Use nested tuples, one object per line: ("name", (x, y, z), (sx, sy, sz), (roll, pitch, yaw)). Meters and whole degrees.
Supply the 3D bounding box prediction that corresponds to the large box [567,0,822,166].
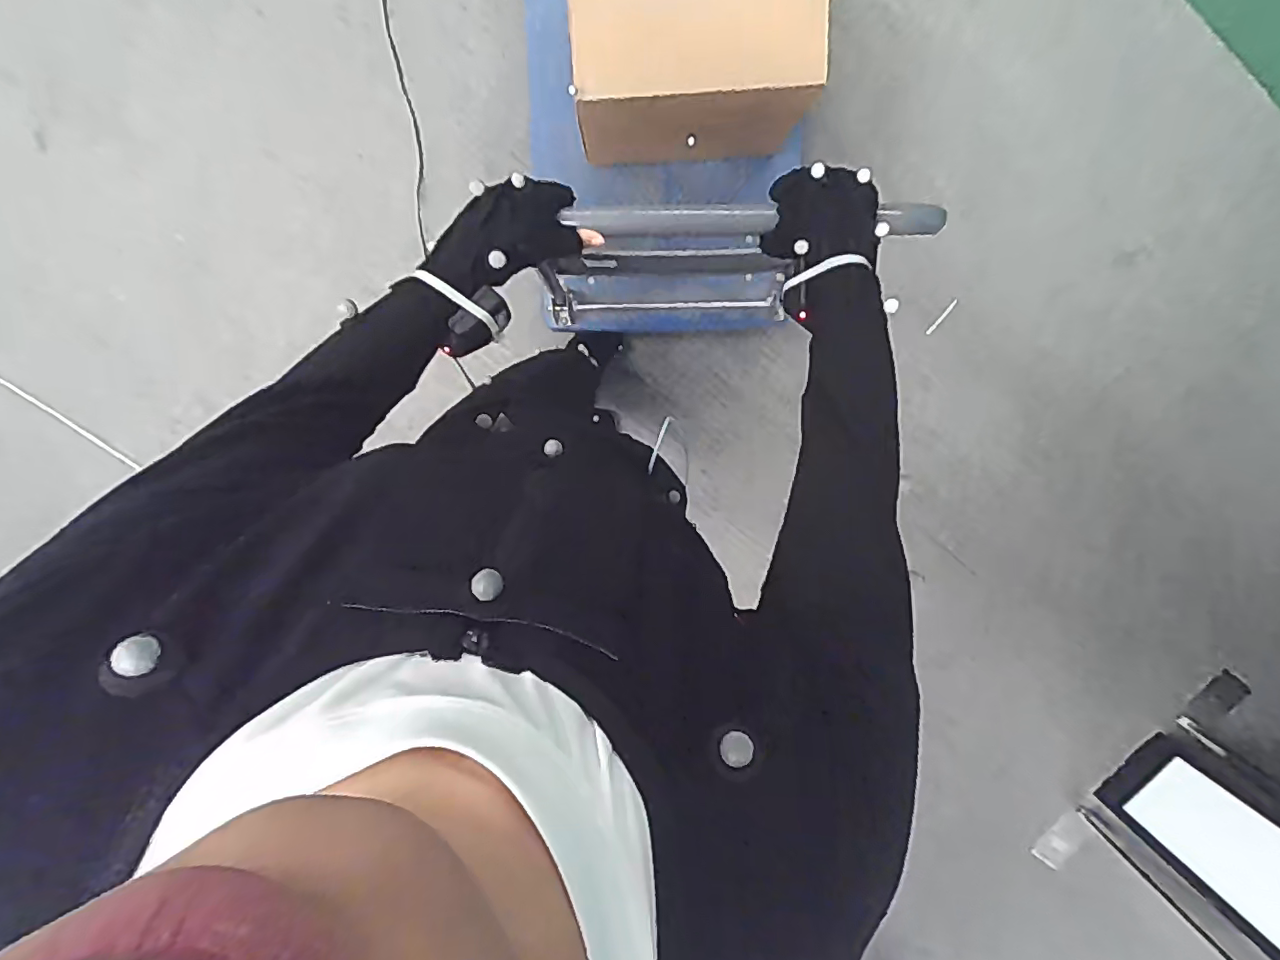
("large box", (0.083, -0.800, 0.983), (0.408, 0.320, 0.320), (-4, 102, 0))
